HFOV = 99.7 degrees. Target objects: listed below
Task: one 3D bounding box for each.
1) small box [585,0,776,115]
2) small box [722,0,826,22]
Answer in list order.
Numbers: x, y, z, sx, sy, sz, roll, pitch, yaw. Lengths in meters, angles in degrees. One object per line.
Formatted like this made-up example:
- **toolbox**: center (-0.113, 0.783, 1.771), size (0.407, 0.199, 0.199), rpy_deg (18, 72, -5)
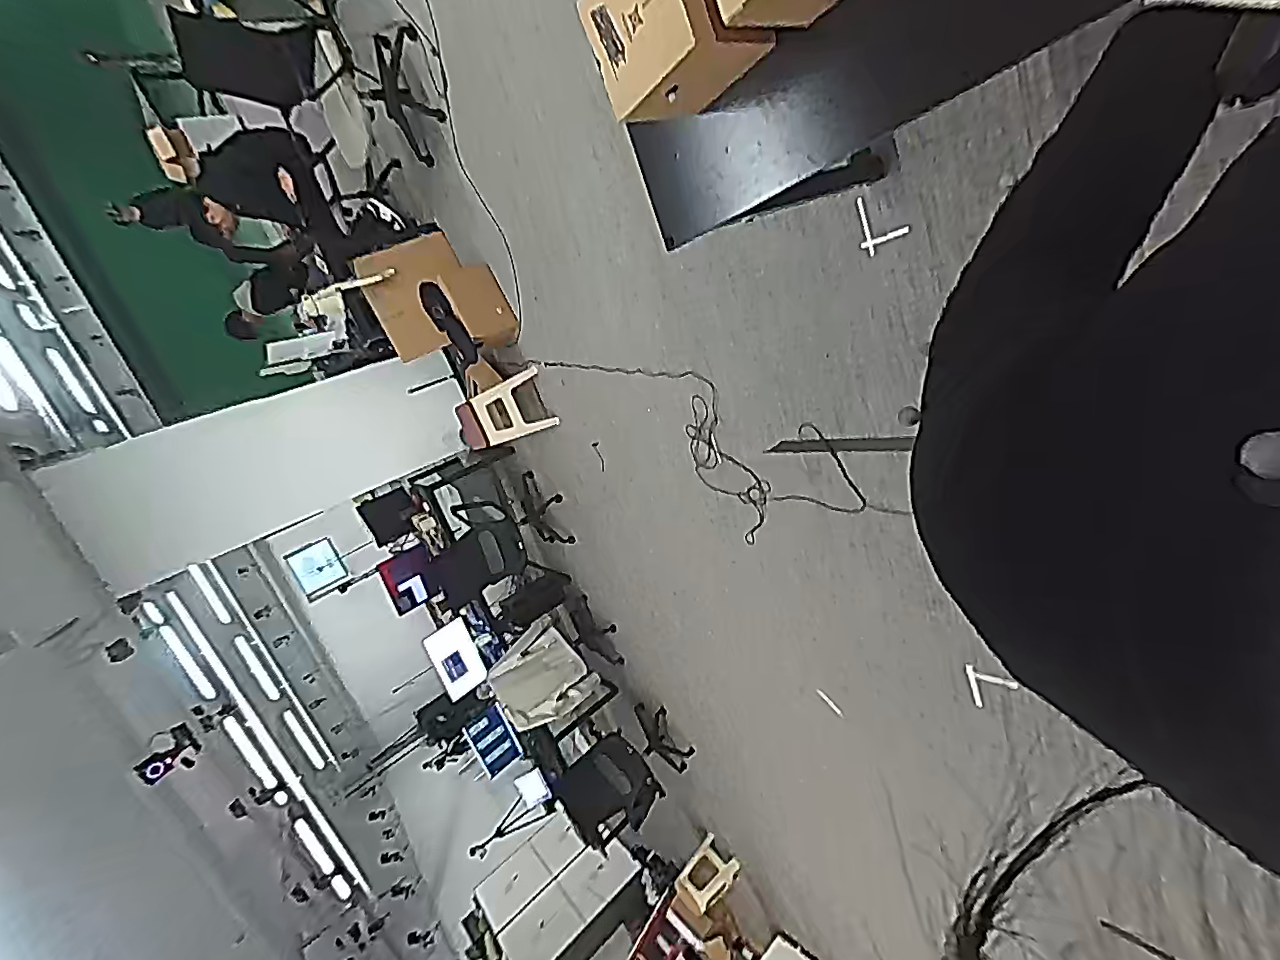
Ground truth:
- **small box**: center (0.057, -0.647, 0.756), size (0.179, 0.176, 0.168), rpy_deg (-2, 114, 55)
- **small box**: center (0.180, -0.644, 0.579), size (0.168, 0.176, 0.179), rpy_deg (3, 118, 55)
